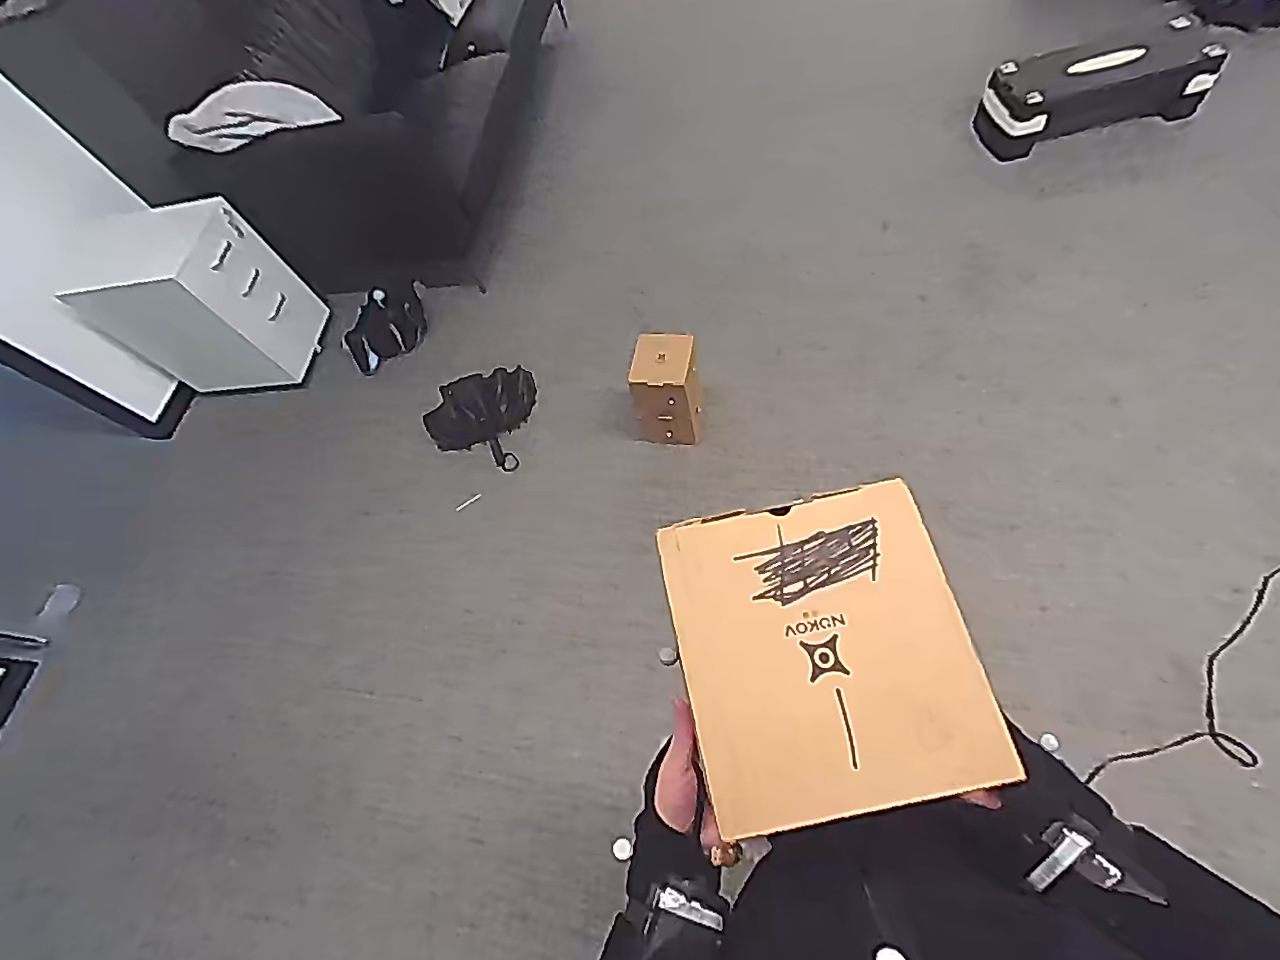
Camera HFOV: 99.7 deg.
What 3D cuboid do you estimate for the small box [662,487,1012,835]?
[{"bbox_3d":[0.111,0.125,0.394,0.168,0.176,0.179,-11,69,0],"label":"small box"}]
